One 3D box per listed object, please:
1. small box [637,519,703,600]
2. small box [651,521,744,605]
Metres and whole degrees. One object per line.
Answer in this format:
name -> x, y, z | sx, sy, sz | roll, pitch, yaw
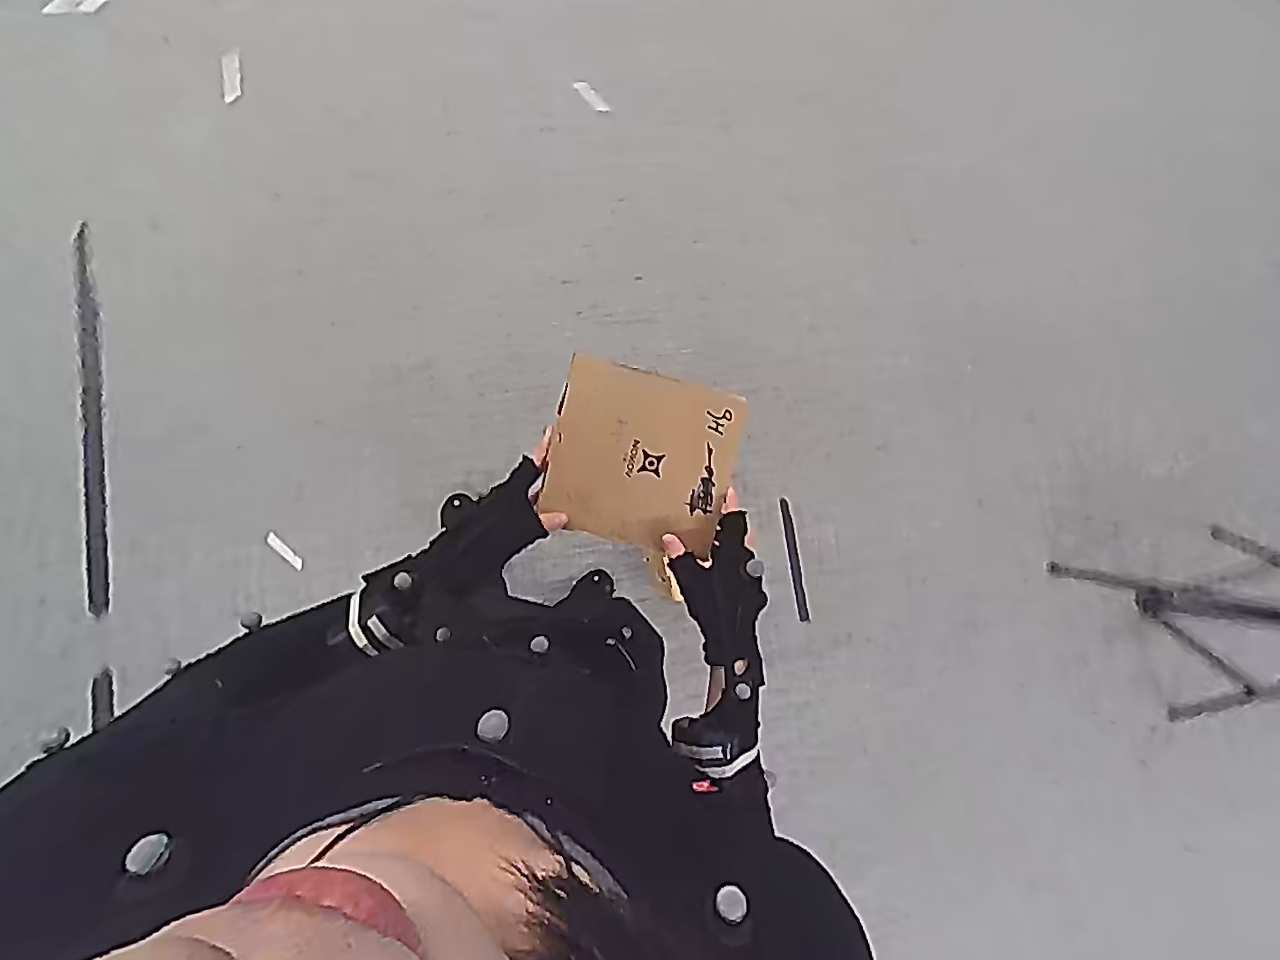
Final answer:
small box -> 0.095, 0.211, 1.459 | 0.168, 0.176, 0.179 | -14, 85, -8
small box -> 0.128, 0.195, 1.301 | 0.179, 0.176, 0.168 | -11, 87, -9
